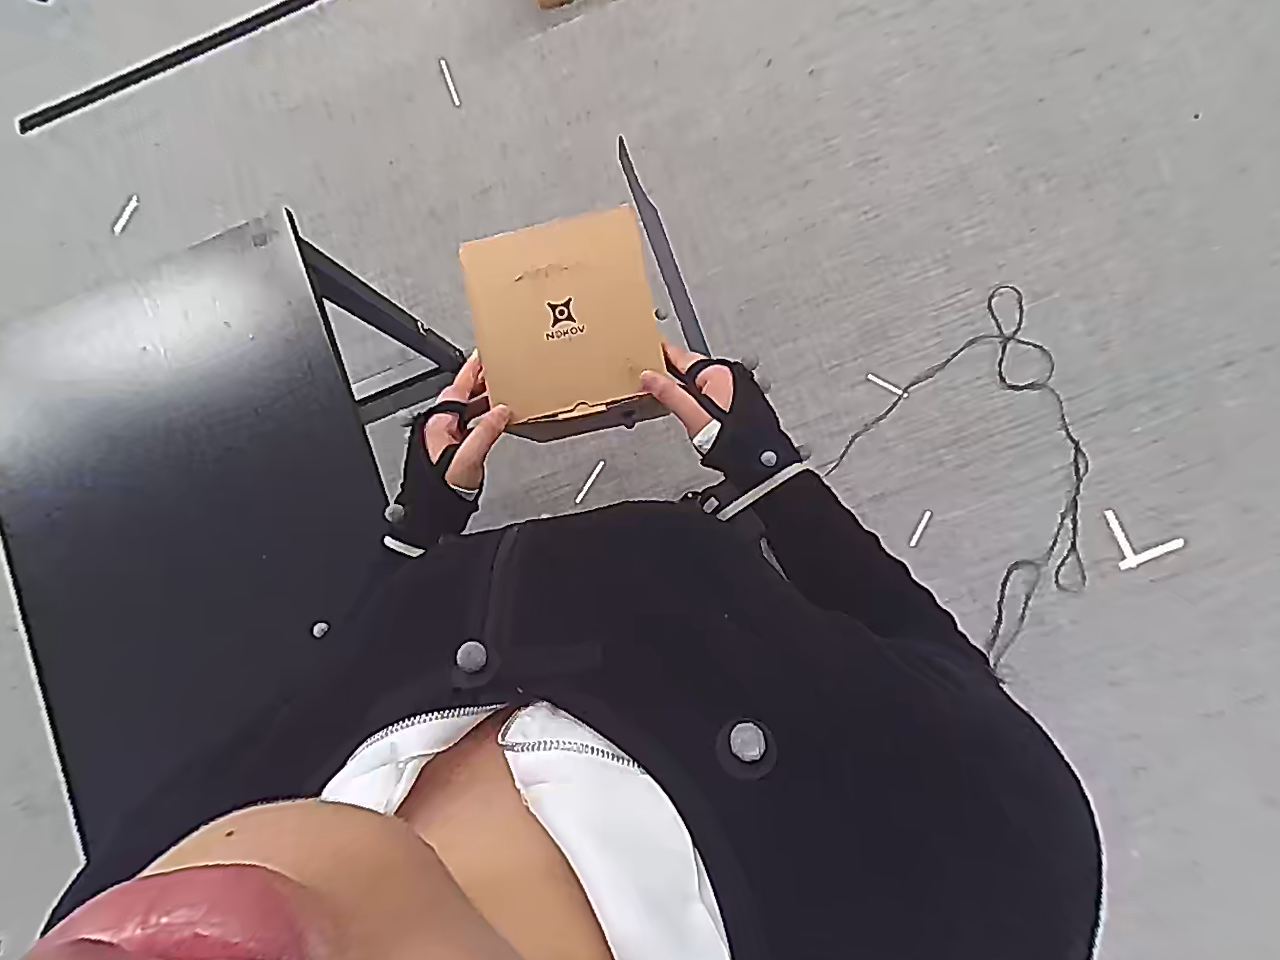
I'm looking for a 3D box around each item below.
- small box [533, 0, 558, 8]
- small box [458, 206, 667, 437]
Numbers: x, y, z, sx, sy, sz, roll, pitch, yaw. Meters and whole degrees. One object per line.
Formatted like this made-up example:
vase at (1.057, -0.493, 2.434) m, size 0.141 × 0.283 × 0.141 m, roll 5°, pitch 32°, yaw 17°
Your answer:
small box at (-0.257, -1.500, 1.528) m, size 0.179 × 0.176 × 0.168 m, roll -20°, pitch 87°, yaw 1°
small box at (-0.066, -0.146, 0.569) m, size 0.168 × 0.176 × 0.179 m, roll -12°, pitch 88°, yaw 2°
